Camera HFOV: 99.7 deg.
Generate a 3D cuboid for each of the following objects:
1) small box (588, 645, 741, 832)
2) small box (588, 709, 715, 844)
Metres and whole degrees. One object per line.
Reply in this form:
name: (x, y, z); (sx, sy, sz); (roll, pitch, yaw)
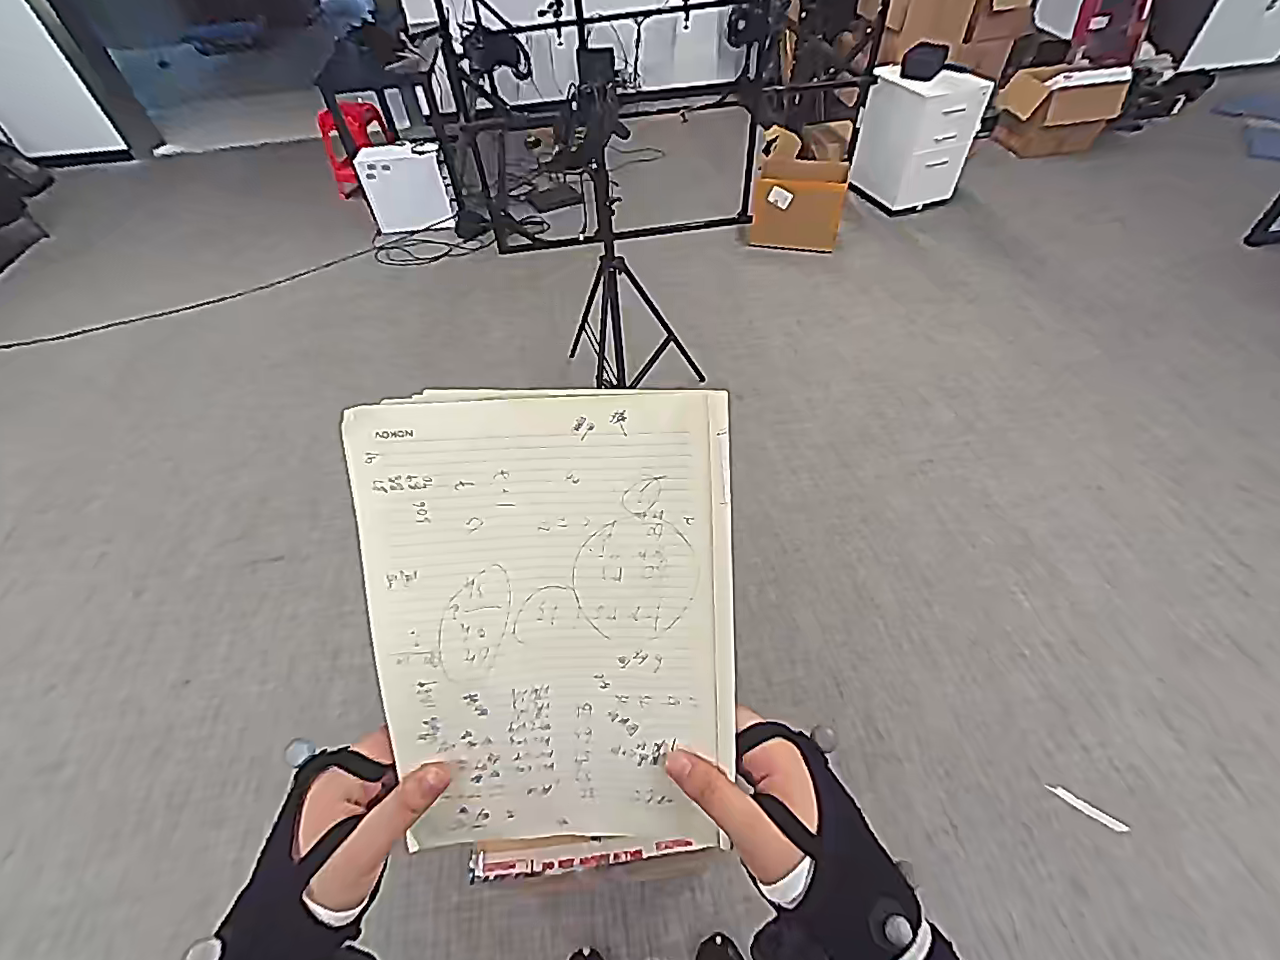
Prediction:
small box: (0.021, 0.340, 0.709); (0.168, 0.176, 0.179); (-6, 52, -4)
small box: (0.020, 0.444, 0.837); (0.179, 0.176, 0.168); (-9, 51, -6)
